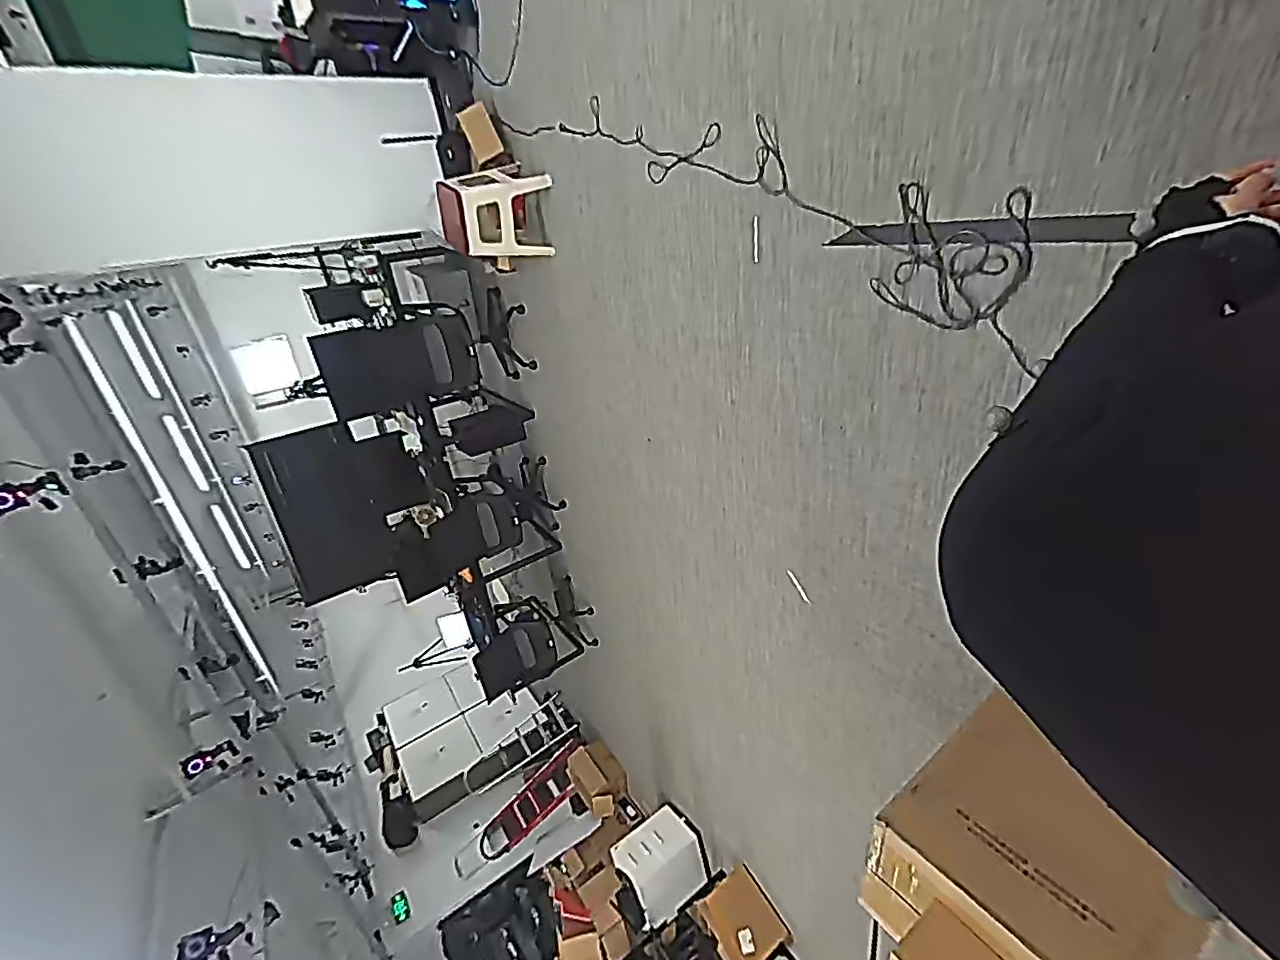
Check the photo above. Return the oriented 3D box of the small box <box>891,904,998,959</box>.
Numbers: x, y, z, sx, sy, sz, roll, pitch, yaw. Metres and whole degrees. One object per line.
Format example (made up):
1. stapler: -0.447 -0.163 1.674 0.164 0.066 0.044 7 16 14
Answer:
1. small box: 0.654 1.066 1.145 0.179 0.176 0.168 30 134 50
